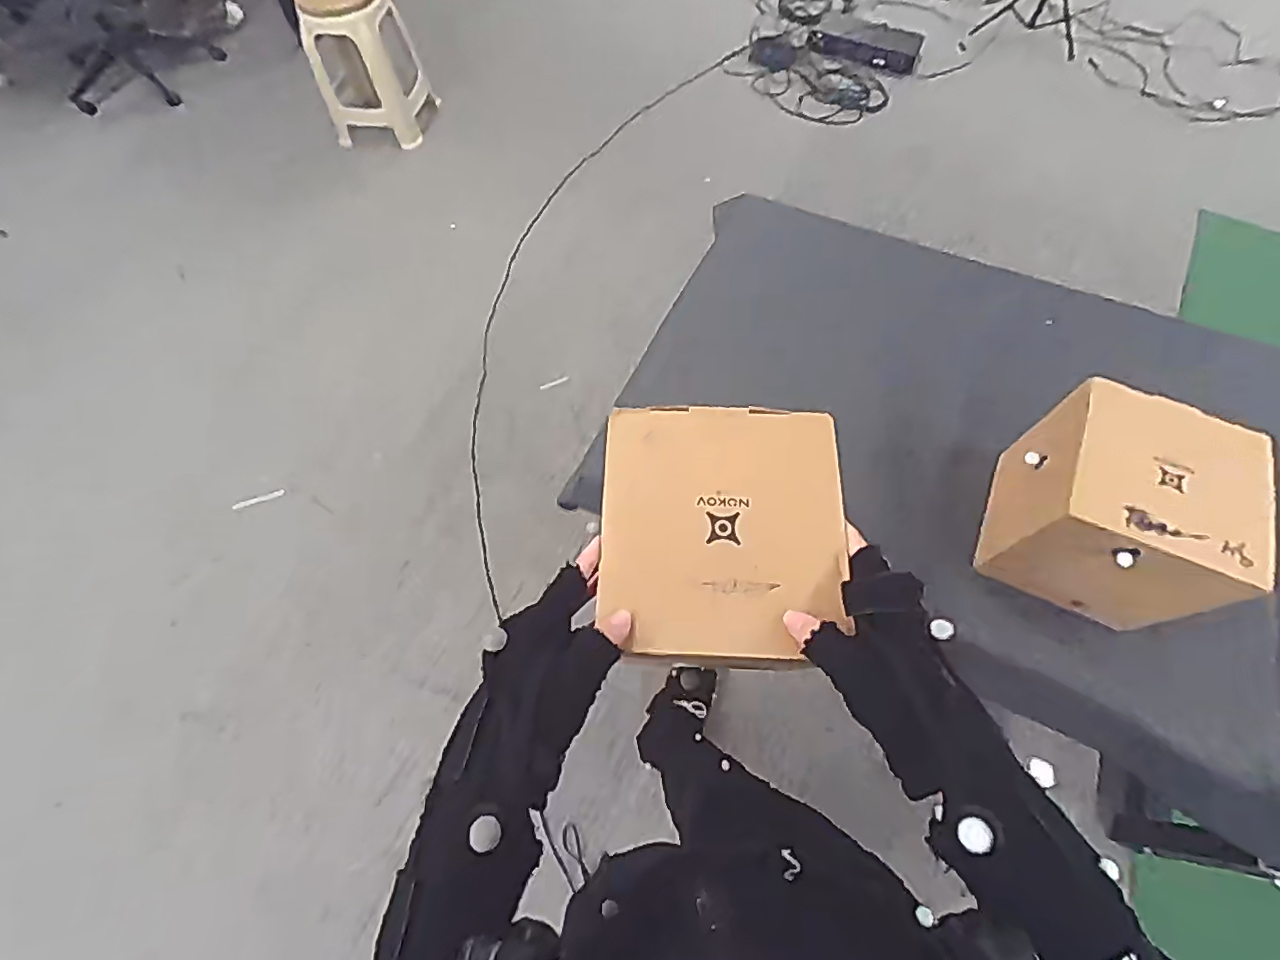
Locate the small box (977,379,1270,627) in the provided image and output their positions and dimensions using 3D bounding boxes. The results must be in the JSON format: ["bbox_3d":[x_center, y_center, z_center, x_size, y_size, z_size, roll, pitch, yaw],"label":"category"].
[{"bbox_3d":[0.498,0.031,0.581,0.168,0.176,0.179,24,65,13],"label":"small box"}]

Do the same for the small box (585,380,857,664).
[{"bbox_3d":[0.056,0.043,0.426,0.168,0.176,0.179,4,69,3],"label":"small box"}]
